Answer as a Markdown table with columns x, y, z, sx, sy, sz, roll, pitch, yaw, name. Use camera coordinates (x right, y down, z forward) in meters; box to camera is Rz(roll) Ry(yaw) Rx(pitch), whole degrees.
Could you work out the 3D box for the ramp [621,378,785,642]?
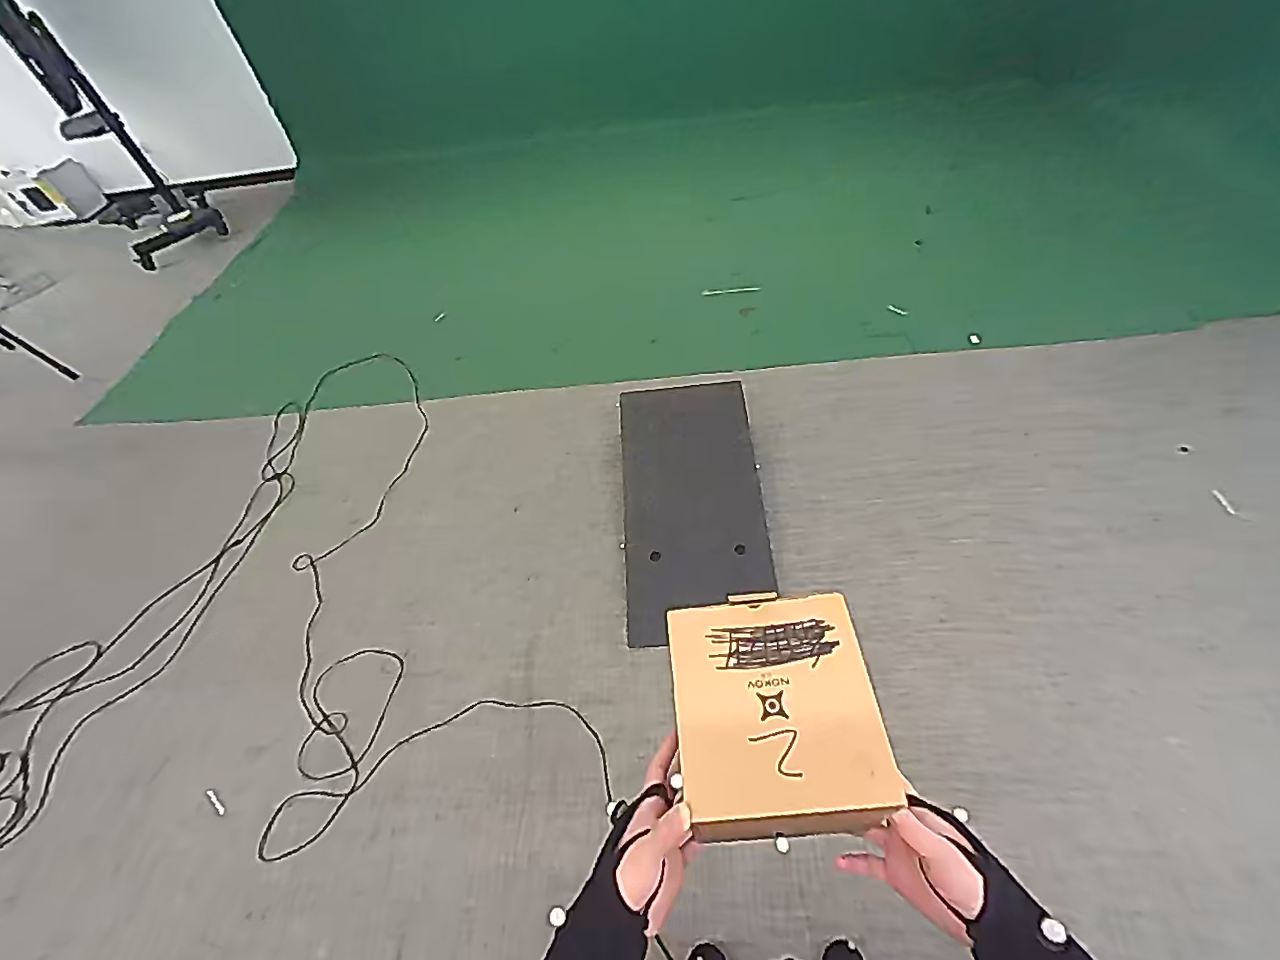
| x | y | z | sx | sy | sz | roll | pitch | yaw | name |
| --- | --- | --- | --- | --- | --- | --- | --- | --- | --- |
| 0.189 | 0.053 | 1.915 | 0.509 | 0.206 | 0.991 | -6 | 51 | 2 | ramp |
